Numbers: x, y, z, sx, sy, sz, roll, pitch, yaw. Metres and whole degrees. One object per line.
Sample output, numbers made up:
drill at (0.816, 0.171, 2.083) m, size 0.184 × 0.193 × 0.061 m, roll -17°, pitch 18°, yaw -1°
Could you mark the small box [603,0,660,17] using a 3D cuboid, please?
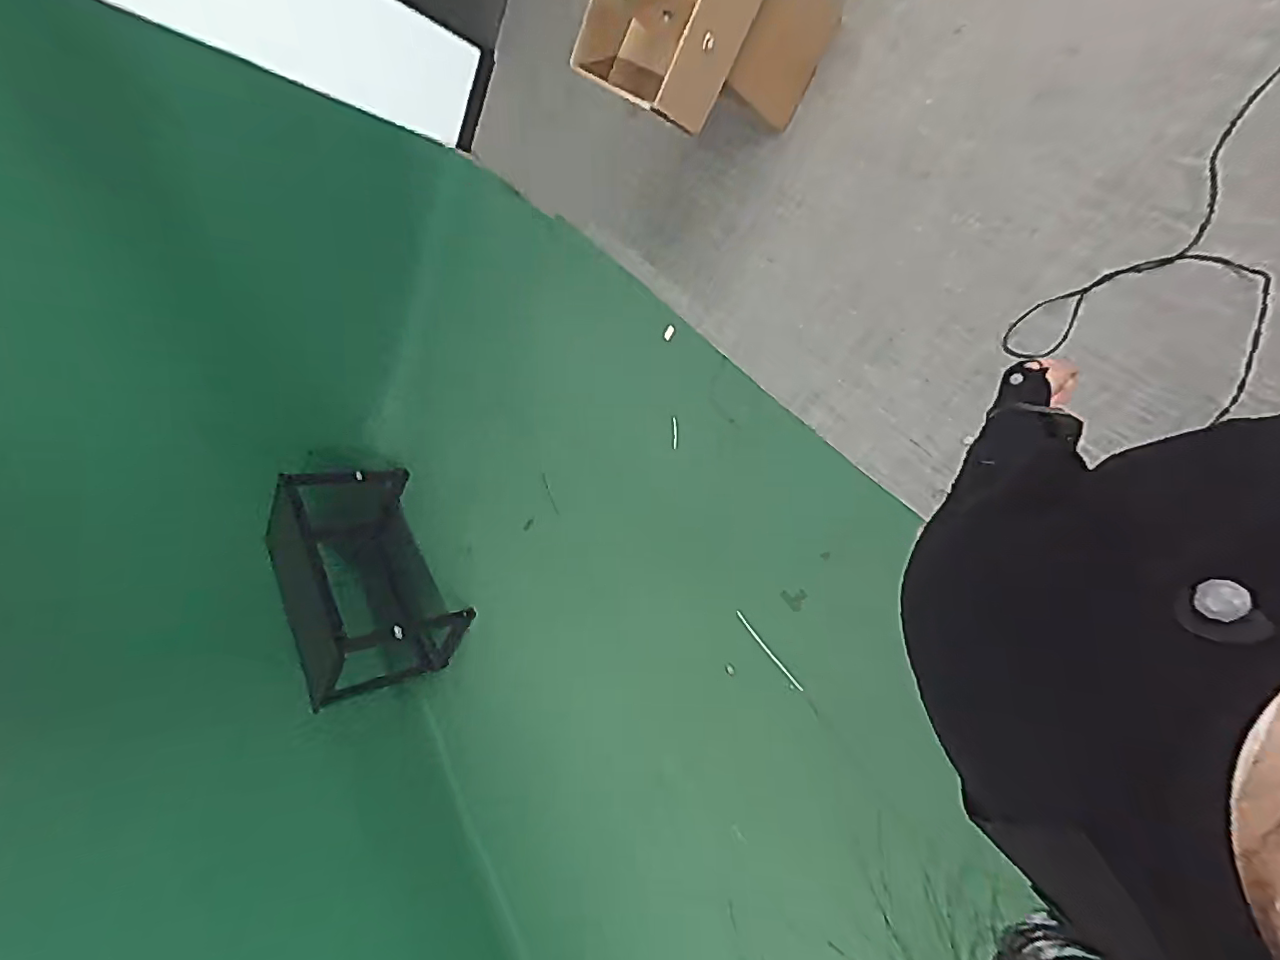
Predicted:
small box at (-0.033, -1.193, 1.199) m, size 0.168 × 0.176 × 0.179 m, roll 16°, pitch 105°, yaw 43°
